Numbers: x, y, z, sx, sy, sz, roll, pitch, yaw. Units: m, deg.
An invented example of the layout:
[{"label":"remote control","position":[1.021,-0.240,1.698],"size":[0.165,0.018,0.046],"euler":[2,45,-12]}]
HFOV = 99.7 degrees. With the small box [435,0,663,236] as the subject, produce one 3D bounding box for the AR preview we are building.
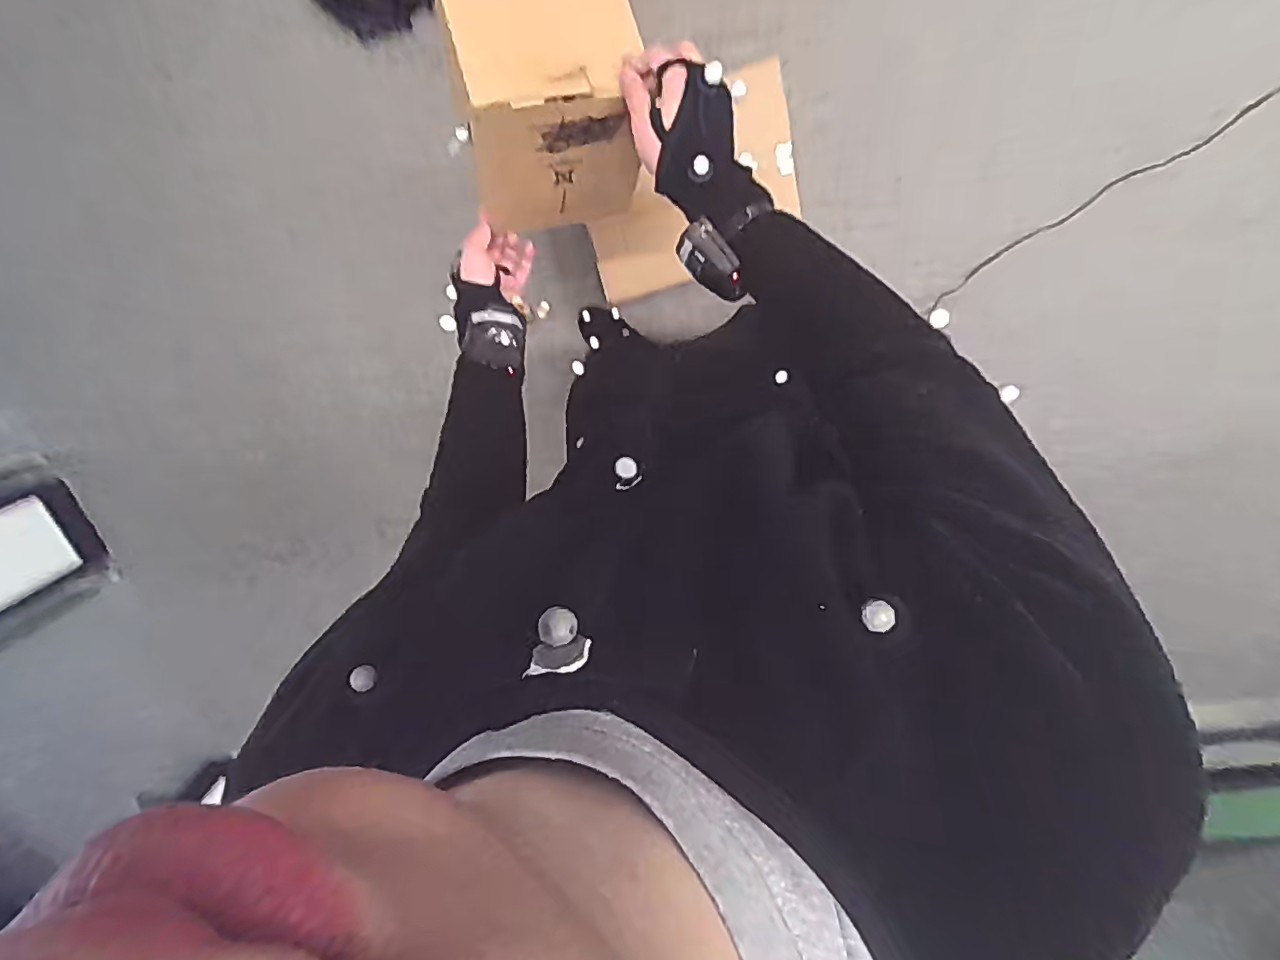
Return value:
[{"label":"small box","position":[-0.095,-0.379,0.534],"size":[0.168,0.179,0.176],"euler":[-15,83,-14]}]
